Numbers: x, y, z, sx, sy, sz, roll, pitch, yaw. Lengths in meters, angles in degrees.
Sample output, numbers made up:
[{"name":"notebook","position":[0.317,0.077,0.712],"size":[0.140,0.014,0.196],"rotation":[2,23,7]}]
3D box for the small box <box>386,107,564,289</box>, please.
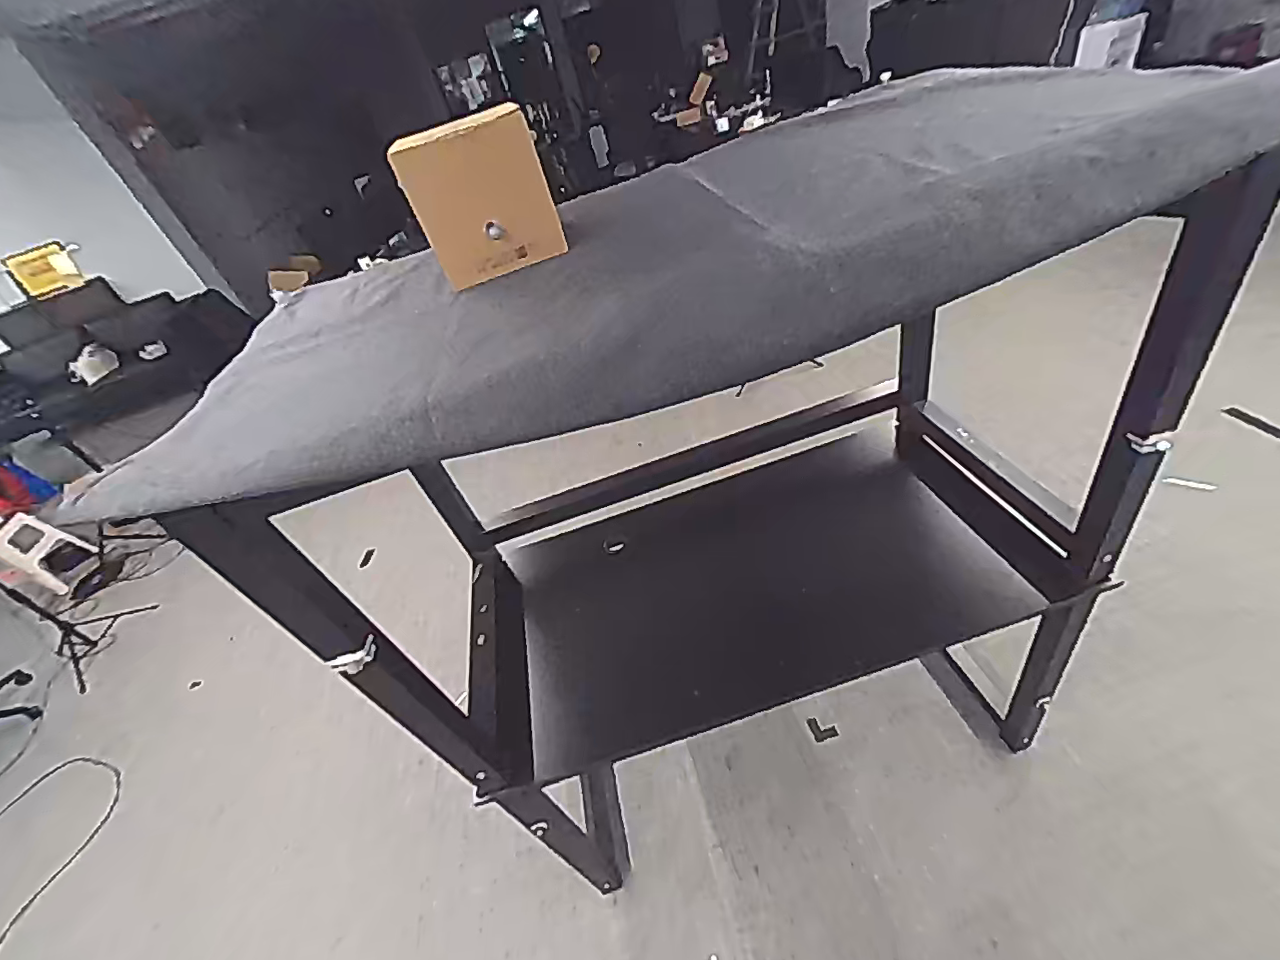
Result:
[{"name":"small box","position":[-0.216,-0.384,0.738],"size":[0.168,0.176,0.179],"rotation":[-21,40,-2]}]
